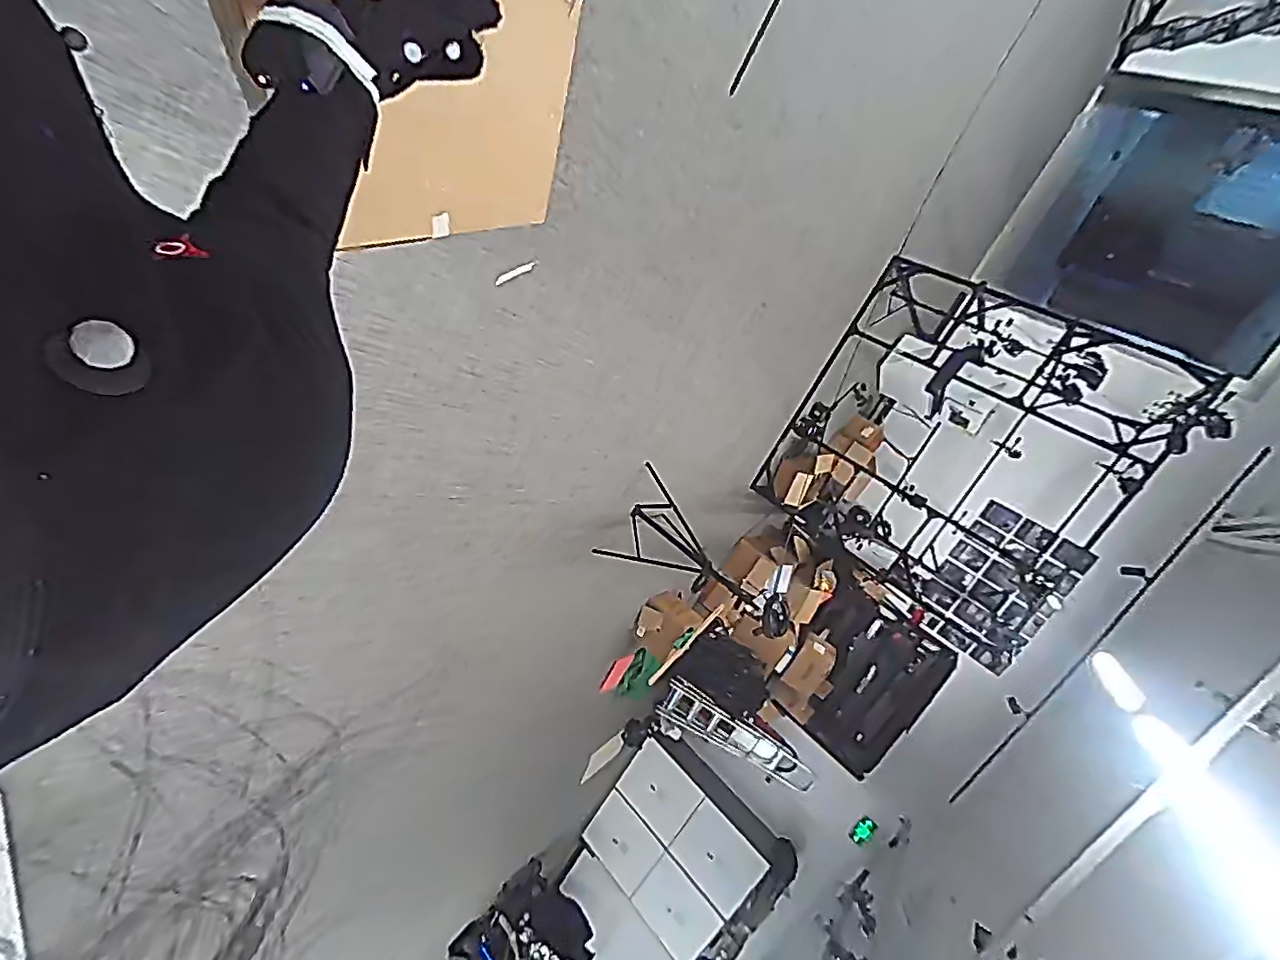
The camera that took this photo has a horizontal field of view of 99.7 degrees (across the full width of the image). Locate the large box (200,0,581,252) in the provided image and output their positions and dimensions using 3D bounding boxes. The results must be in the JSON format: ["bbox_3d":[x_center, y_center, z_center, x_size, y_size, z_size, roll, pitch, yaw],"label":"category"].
[{"bbox_3d":[-0.322,-0.555,0.646,0.320,0.408,0.320,-23,166,-26],"label":"large box"}]
